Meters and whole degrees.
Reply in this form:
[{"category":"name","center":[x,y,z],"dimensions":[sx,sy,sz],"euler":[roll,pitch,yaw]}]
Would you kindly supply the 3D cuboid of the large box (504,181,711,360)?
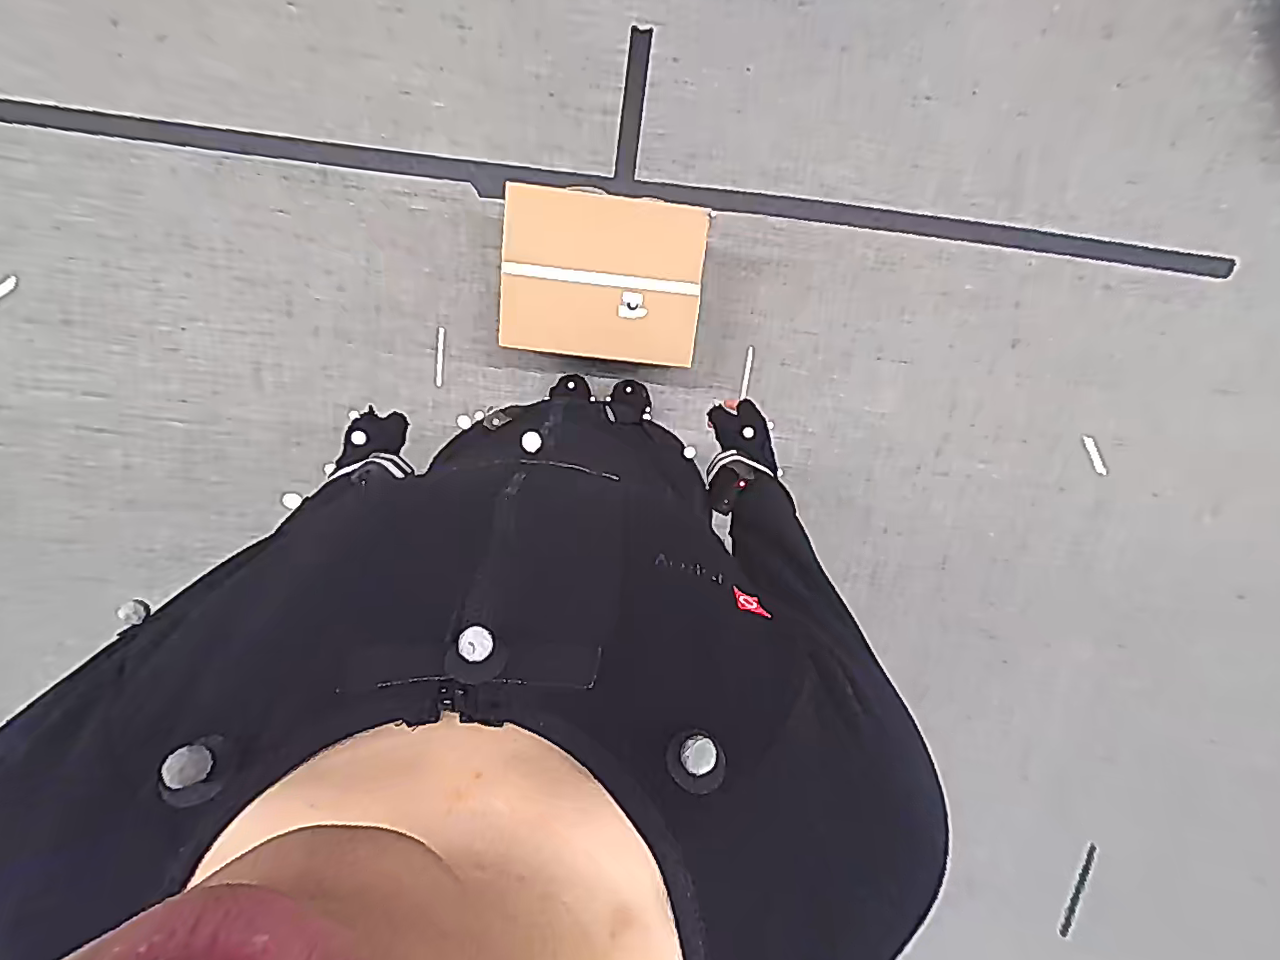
[{"category":"large box","center":[-0.079,-0.447,1.235],"dimensions":[0.408,0.320,0.320],"euler":[5,103,-4]}]
